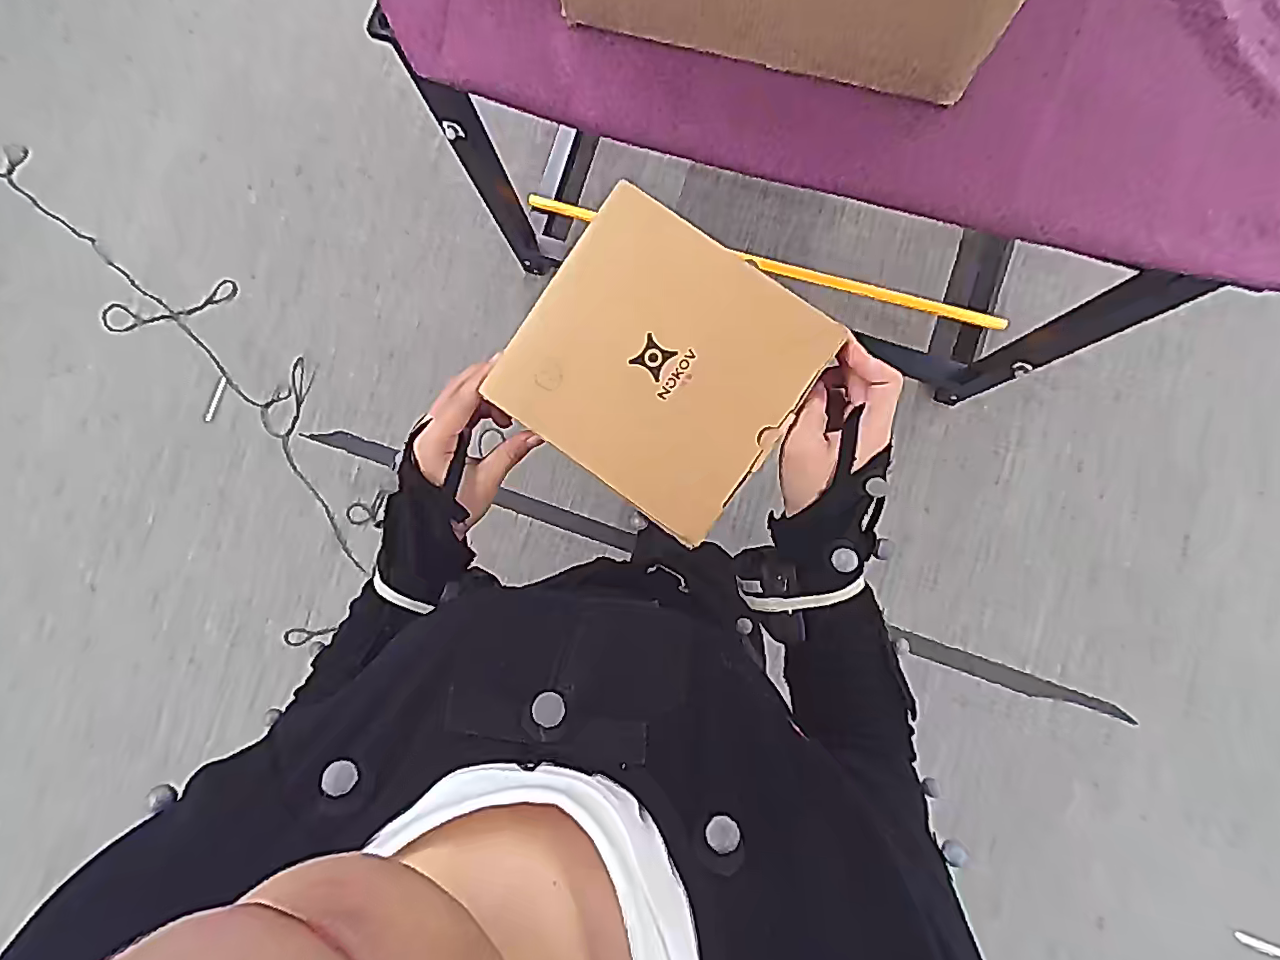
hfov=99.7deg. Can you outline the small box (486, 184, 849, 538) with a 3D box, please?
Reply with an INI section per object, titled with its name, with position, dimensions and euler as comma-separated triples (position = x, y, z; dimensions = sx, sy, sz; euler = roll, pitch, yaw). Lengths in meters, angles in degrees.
[small box]
position = 0.019, -0.075, 0.422
dimensions = 0.179, 0.176, 0.168
euler = 35, 93, 2
